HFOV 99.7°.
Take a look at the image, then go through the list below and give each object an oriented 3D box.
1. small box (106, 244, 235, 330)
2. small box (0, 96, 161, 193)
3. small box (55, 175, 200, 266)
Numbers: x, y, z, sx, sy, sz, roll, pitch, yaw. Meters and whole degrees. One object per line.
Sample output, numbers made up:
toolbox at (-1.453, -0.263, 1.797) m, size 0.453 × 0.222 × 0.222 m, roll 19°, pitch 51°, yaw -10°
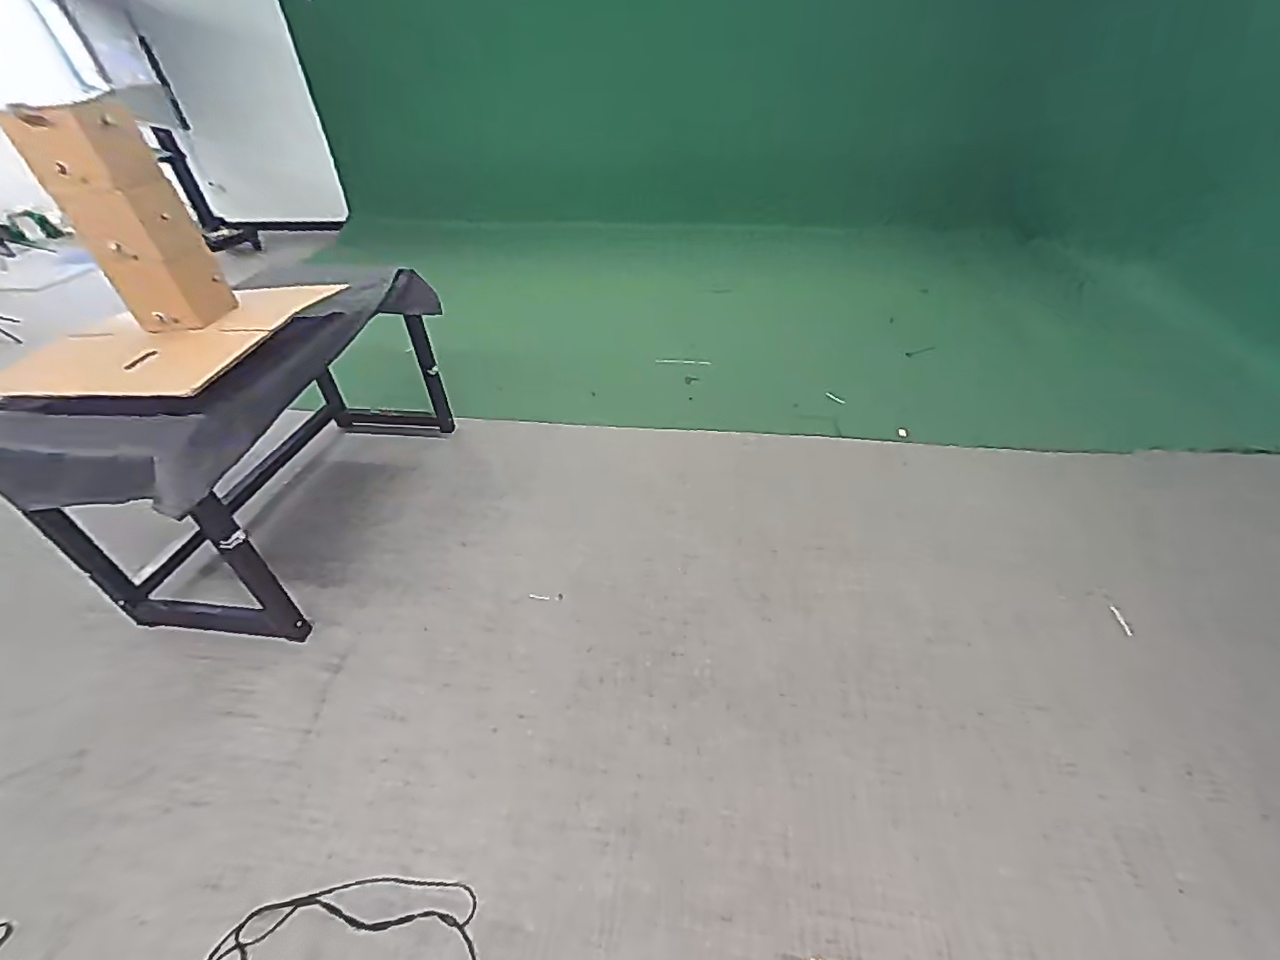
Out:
small box at (-1.238, -0.516, 1.447) m, size 0.168 × 0.176 × 0.179 m, roll -5°, pitch 39°, yaw 2°
small box at (-1.273, -0.774, 1.248) m, size 0.168 × 0.176 × 0.179 m, roll -6°, pitch 39°, yaw 1°
small box at (-1.254, -0.645, 1.346) m, size 0.168 × 0.176 × 0.179 m, roll -5°, pitch 39°, yaw 2°
